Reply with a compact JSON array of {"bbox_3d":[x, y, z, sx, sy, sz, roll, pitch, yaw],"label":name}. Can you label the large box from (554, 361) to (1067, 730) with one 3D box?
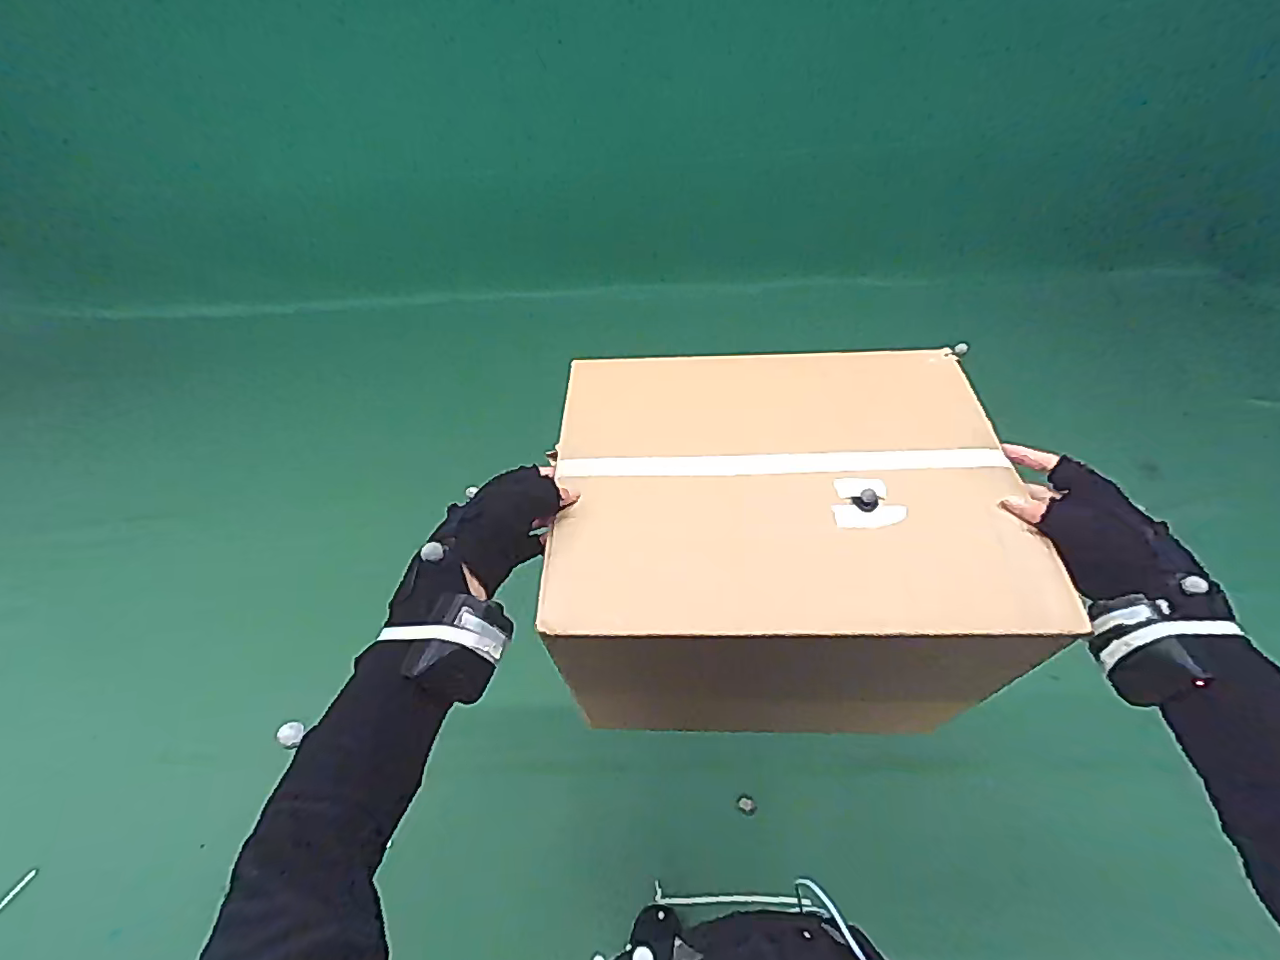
[{"bbox_3d":[0.134,0.085,0.623,0.408,0.320,0.320,-1,53,3],"label":"large box"}]
